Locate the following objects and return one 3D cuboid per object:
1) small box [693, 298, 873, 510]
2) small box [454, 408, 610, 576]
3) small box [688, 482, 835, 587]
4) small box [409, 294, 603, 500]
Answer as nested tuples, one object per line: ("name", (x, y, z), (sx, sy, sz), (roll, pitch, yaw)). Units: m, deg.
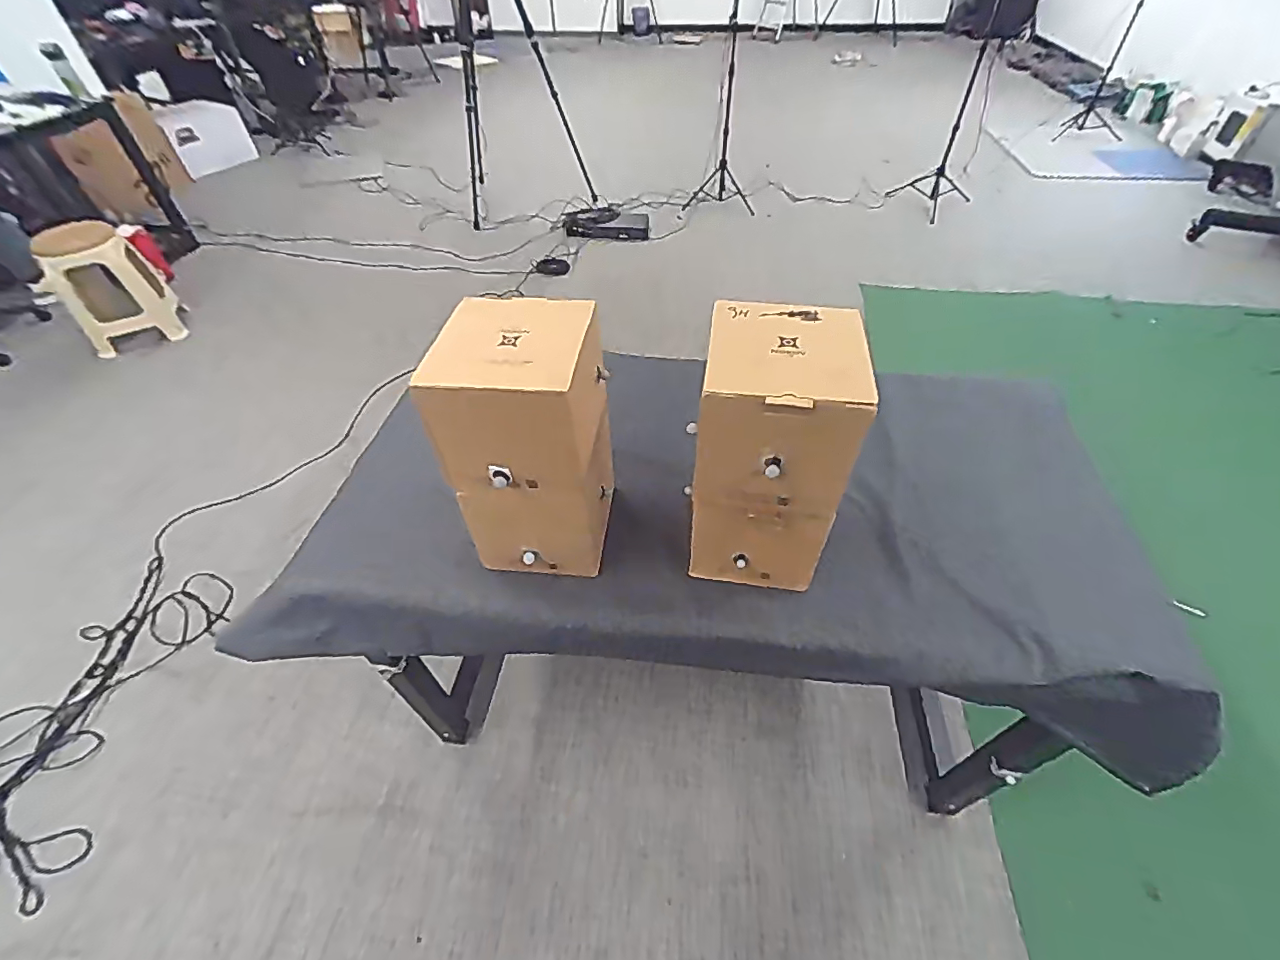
("small box", (0.152, -0.085, 0.621), (0.168, 0.176, 0.179), (6, 49, 7))
("small box", (-0.135, 0.011, 0.759), (0.168, 0.176, 0.179), (3, 48, 5))
("small box", (0.158, 0.022, 0.745), (0.168, 0.176, 0.179), (6, 48, 6))
("small box", (-0.138, -0.099, 0.639), (0.168, 0.176, 0.179), (2, 48, 5))
